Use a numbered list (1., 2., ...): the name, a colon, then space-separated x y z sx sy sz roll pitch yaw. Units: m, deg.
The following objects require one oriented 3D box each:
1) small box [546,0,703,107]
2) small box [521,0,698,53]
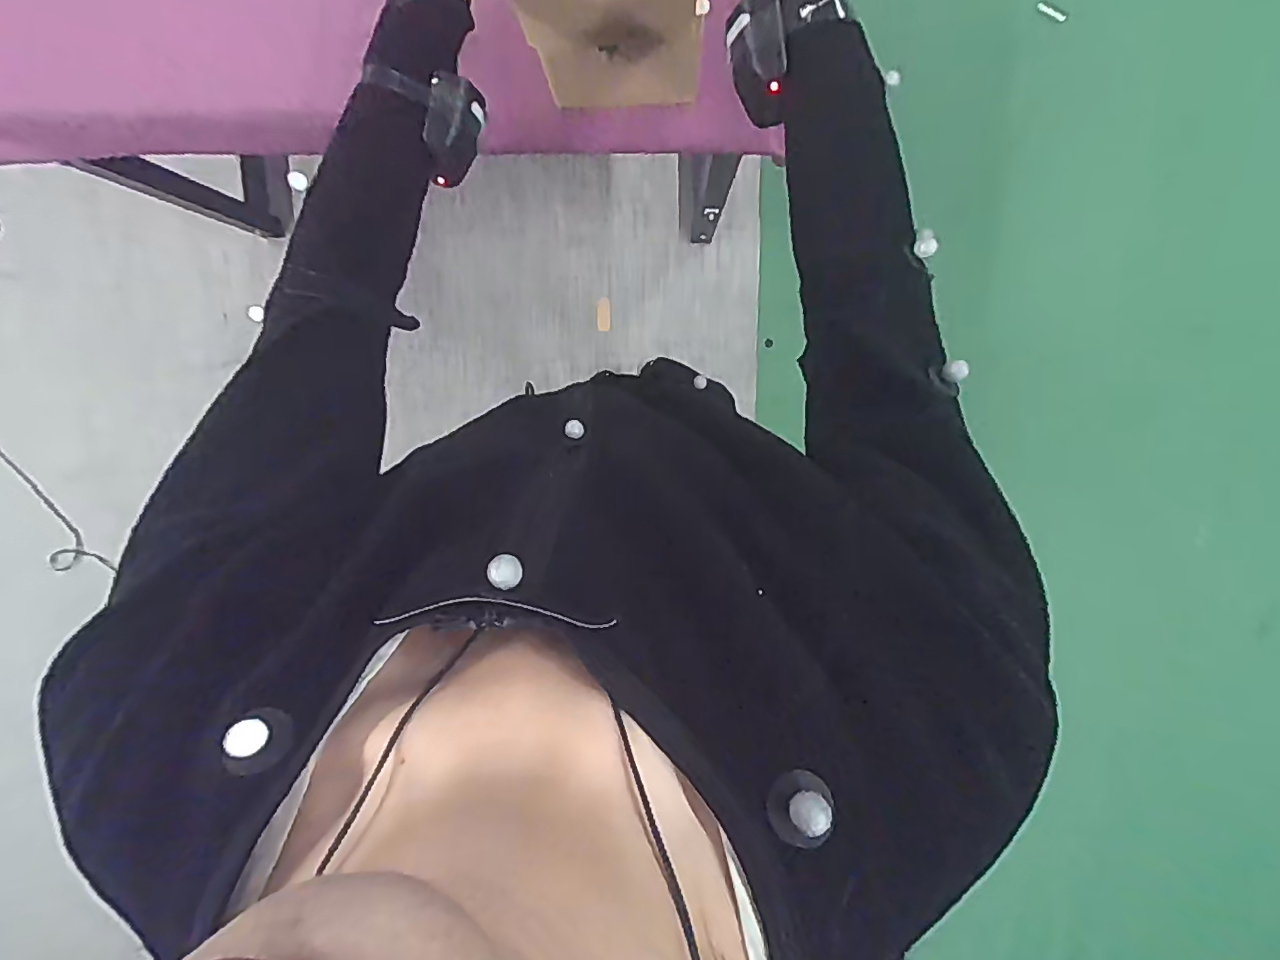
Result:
1. small box: -0.022 -0.547 0.604 0.179 0.176 0.168 -1 100 2
2. small box: -0.029 -0.502 0.446 0.168 0.176 0.179 1 99 2
